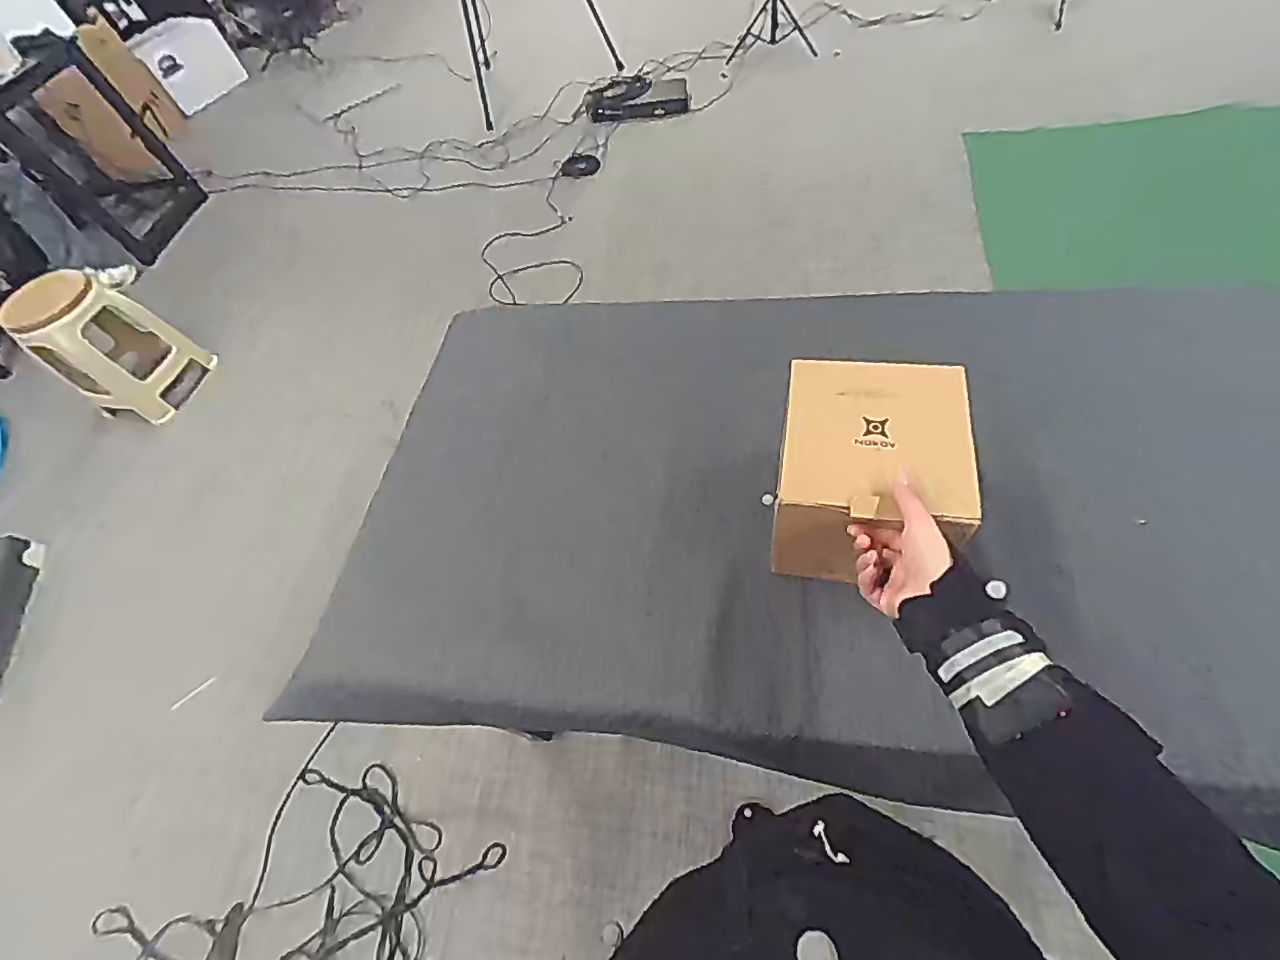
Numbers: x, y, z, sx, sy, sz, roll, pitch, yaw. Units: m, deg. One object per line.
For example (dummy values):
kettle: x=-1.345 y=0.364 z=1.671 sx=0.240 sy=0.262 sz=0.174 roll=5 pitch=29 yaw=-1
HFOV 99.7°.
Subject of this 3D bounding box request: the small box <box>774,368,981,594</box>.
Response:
small box: x=0.235 y=0.005 z=0.574 sx=0.168 sy=0.176 sz=0.179 roll=6 pitch=58 yaw=13
